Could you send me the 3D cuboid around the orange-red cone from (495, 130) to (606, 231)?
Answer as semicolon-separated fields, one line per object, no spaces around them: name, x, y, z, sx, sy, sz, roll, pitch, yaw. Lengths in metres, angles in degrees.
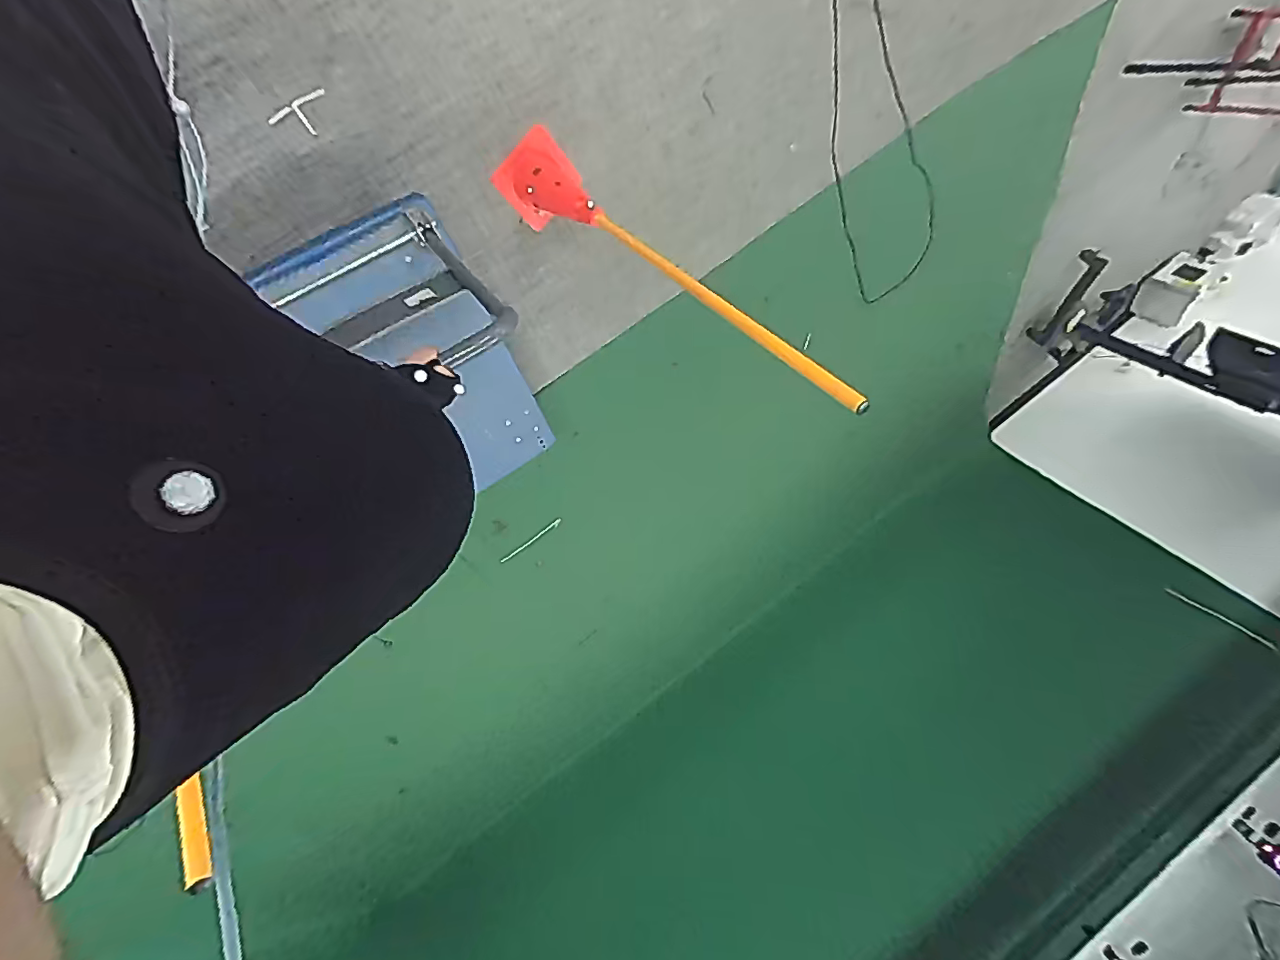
orange-red cone;-0.190;-0.723;1.393;0.199;0.360;0.198;-47;143;5
